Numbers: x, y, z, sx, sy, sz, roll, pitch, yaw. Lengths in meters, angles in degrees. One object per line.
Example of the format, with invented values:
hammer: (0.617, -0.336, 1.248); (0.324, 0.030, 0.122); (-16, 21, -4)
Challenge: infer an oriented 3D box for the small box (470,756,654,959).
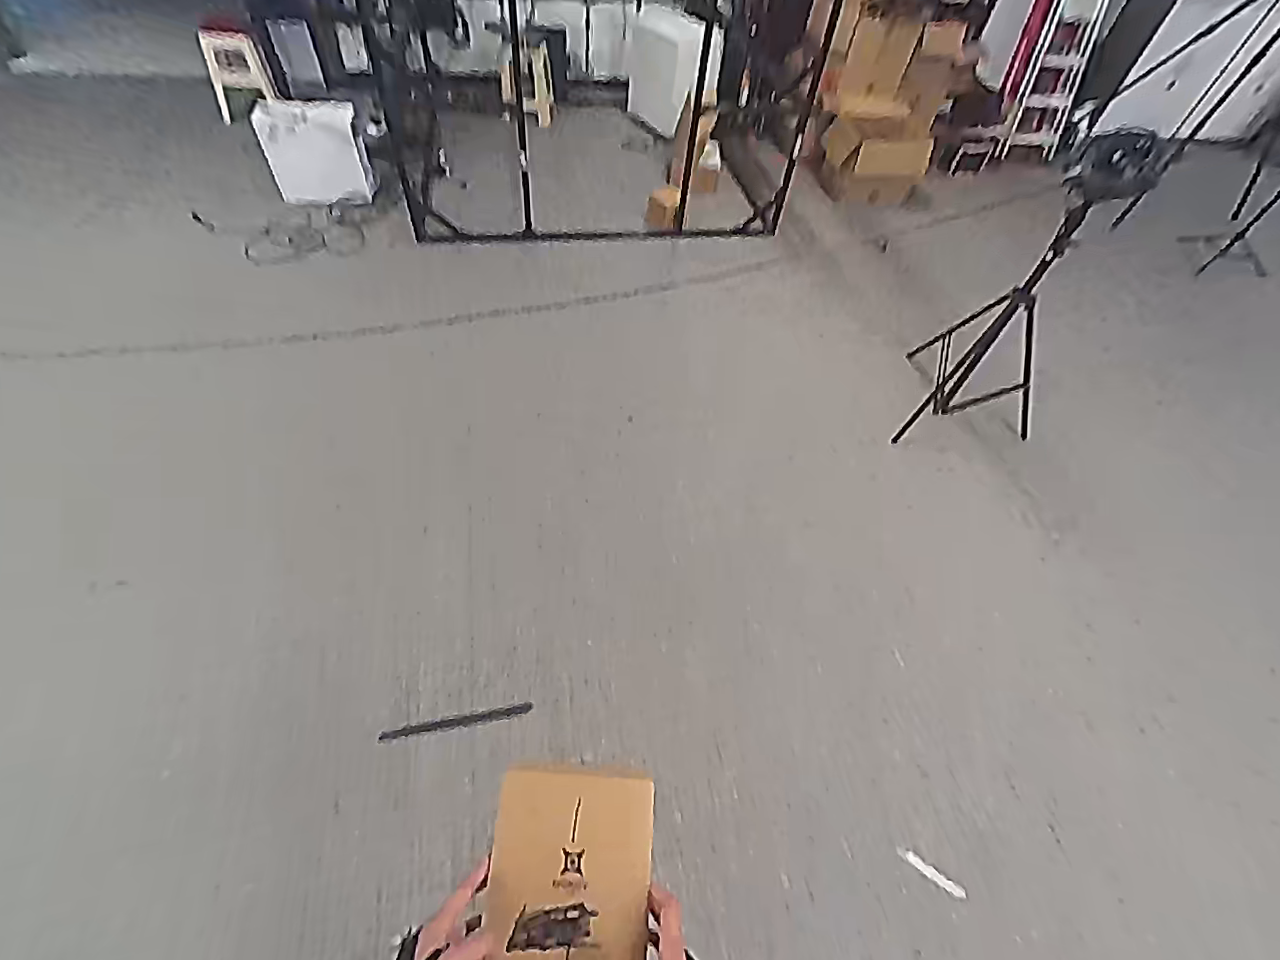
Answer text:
small box: (-0.079, 0.423, 0.615); (0.168, 0.176, 0.179); (6, 66, -3)
